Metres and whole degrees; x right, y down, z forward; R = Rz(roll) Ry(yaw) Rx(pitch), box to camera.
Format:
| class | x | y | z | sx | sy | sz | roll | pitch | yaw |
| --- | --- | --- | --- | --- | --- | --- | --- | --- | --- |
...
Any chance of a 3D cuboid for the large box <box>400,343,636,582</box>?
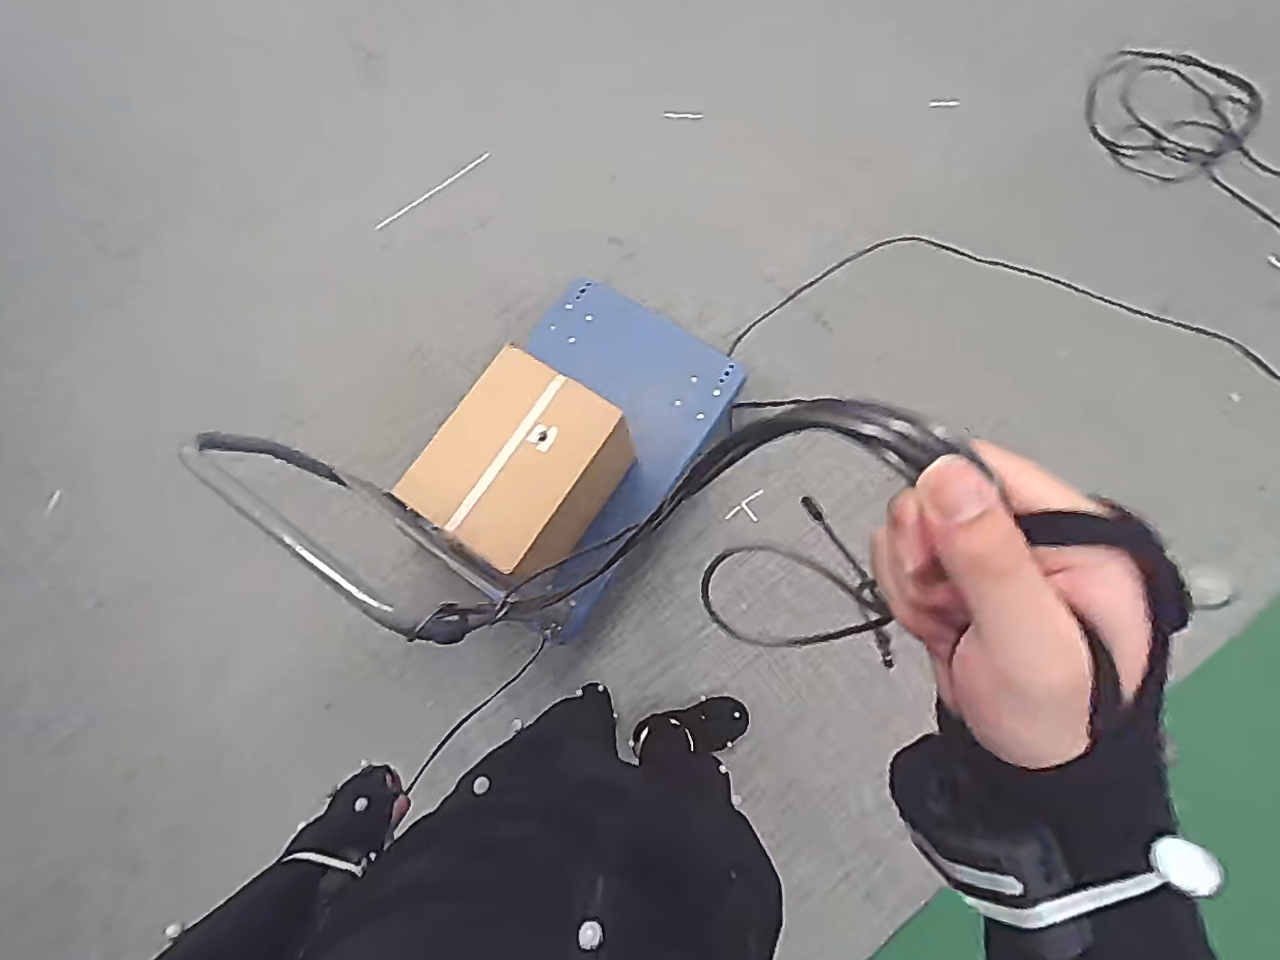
| class | x | y | z | sx | sy | sz | roll | pitch | yaw |
| --- | --- | --- | --- | --- | --- | --- | --- | --- | --- |
| large box | -0.252 | -0.023 | 1.254 | 0.320 | 0.320 | 0.408 | 32 | 79 | 12 |
